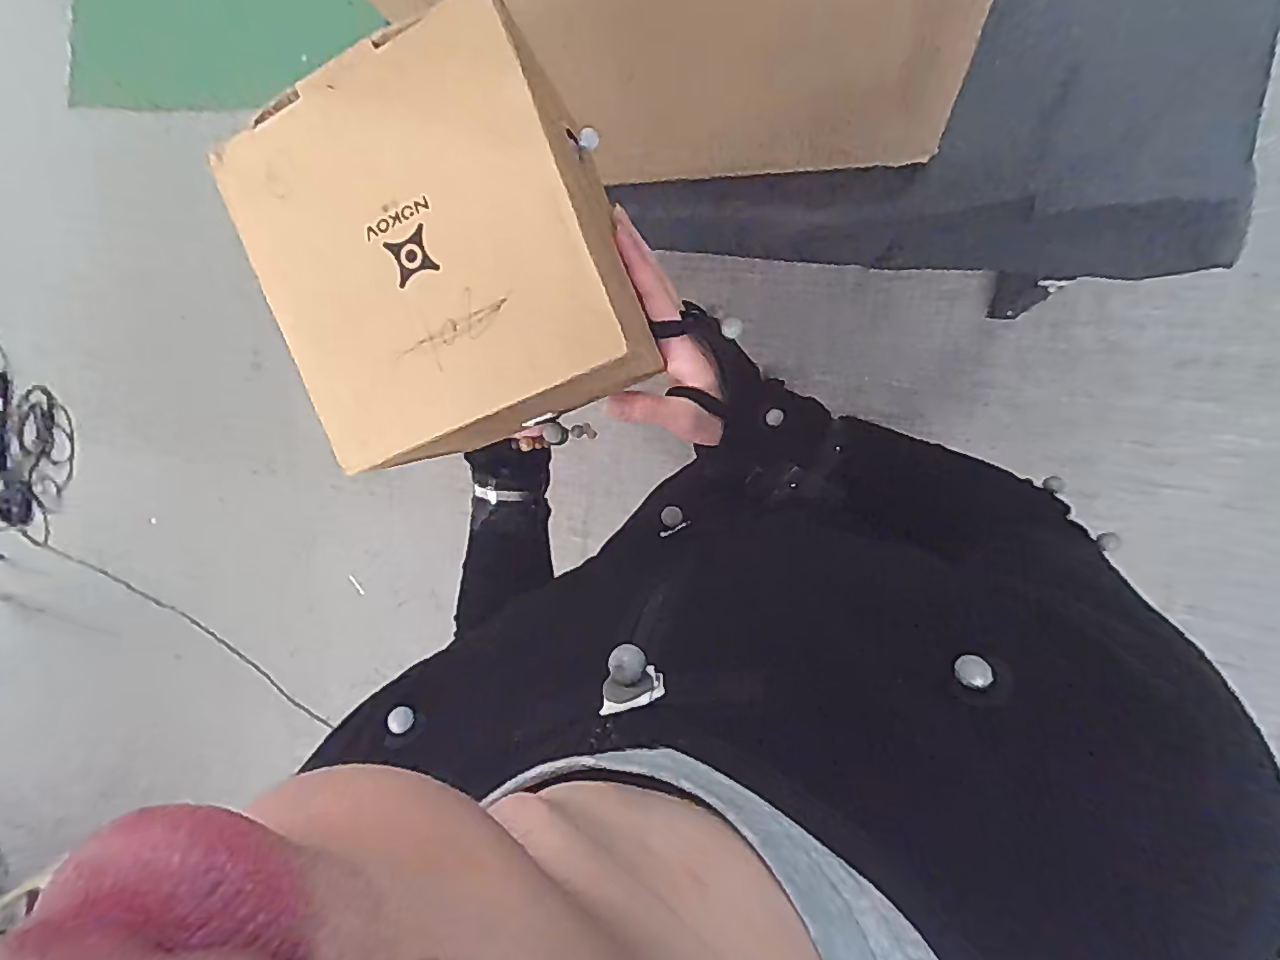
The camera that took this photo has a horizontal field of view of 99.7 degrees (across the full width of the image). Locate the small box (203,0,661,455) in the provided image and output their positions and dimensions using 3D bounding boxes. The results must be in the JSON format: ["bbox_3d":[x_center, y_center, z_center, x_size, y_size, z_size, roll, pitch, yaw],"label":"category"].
[{"bbox_3d":[-0.098,-0.131,0.336,0.168,0.176,0.179,-21,96,13],"label":"small box"}]
